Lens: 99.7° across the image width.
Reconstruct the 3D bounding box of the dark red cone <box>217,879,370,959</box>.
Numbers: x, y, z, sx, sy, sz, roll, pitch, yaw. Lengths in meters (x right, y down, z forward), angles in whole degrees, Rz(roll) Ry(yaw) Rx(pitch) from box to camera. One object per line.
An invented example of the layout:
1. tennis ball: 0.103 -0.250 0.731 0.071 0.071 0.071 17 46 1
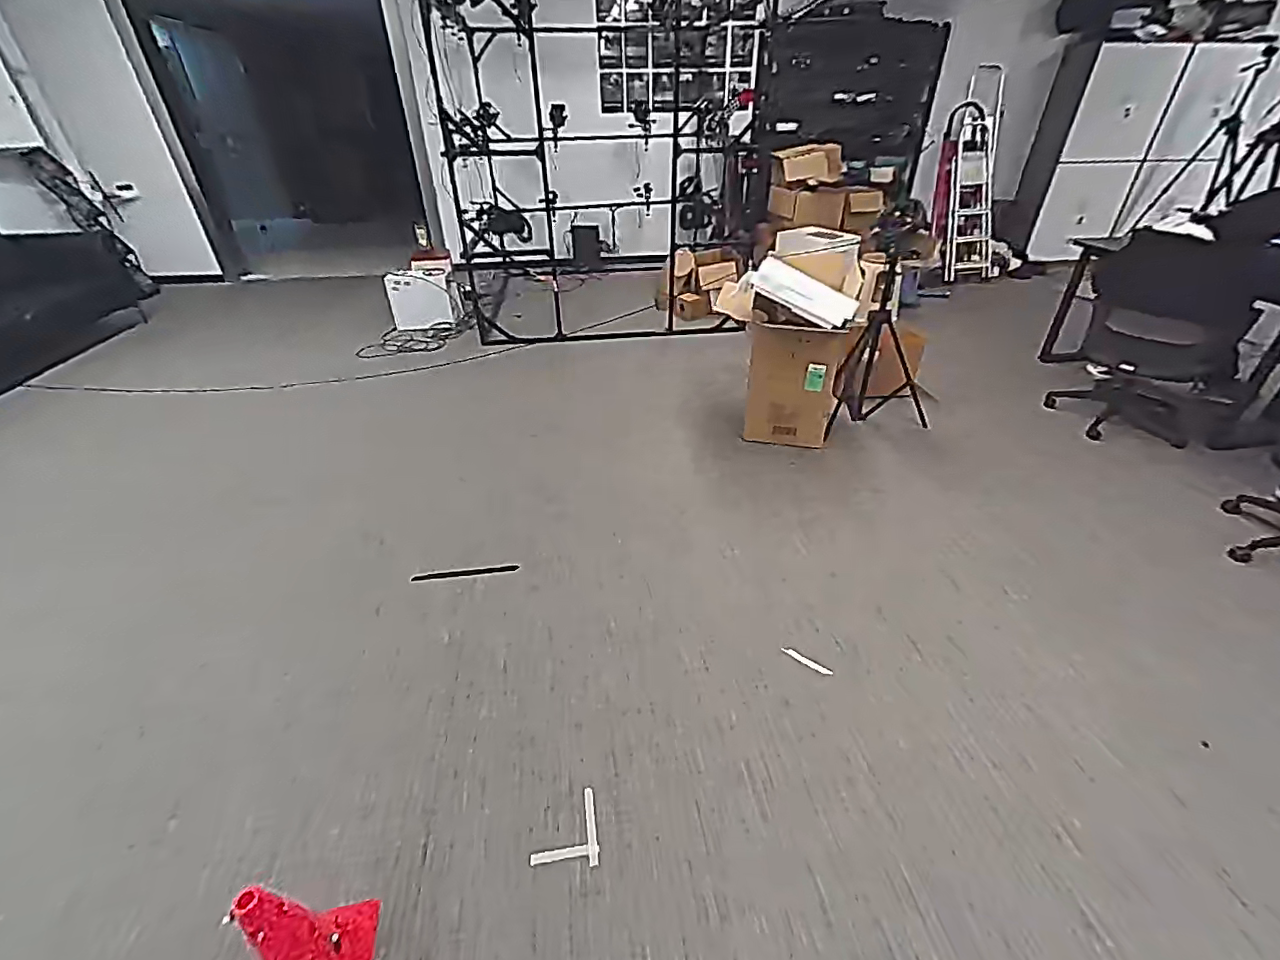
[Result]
1. dark red cone: -0.645 0.808 0.961 0.202 0.394 0.201 -8 36 -11
